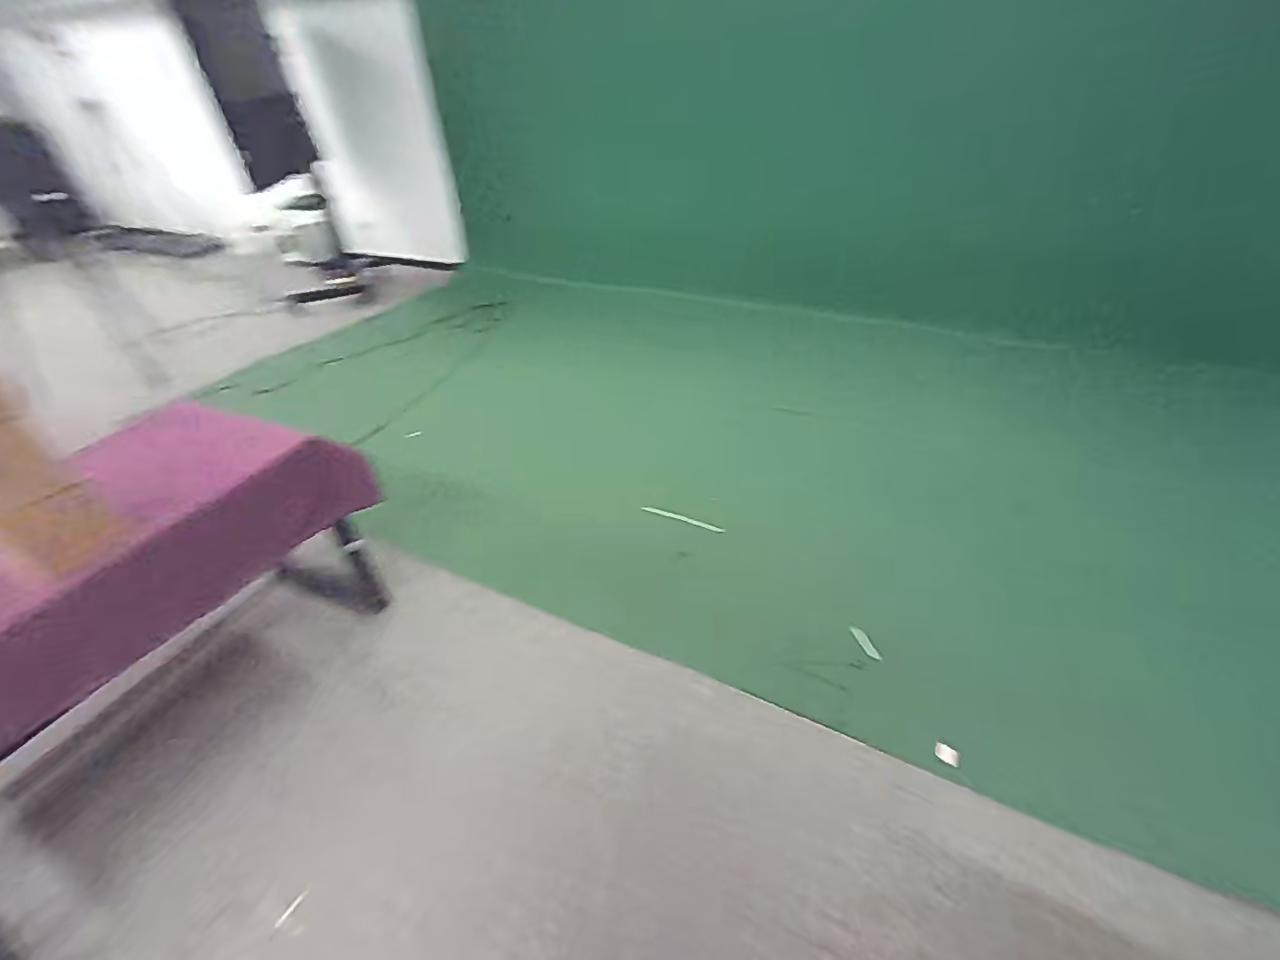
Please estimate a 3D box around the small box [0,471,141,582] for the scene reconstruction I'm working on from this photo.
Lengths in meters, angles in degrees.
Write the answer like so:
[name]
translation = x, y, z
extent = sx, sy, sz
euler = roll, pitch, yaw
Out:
[small box]
translation = -1.251, 0.091, 1.164
extent = 0.168, 0.176, 0.179
euler = 14, 40, 23
